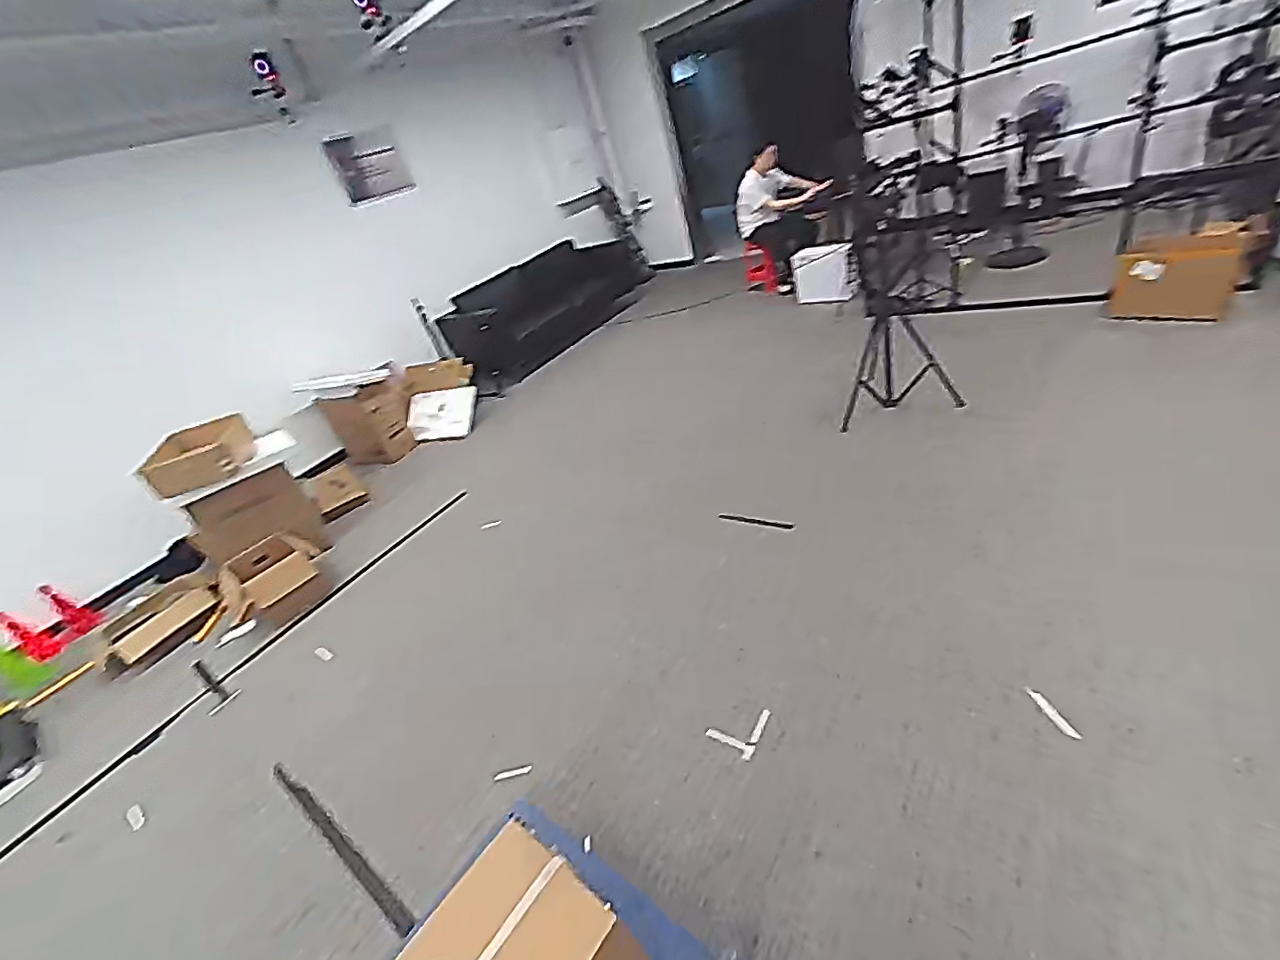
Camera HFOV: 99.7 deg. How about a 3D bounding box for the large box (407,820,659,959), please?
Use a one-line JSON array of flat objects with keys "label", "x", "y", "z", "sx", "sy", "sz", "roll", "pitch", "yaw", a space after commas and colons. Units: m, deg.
[{"label": "large box", "x": -0.219, "y": 0.969, "z": 1.009, "sx": 0.320, "sy": 0.320, "sz": 0.408, "roll": 11, "pitch": 42, "yaw": 41}]
